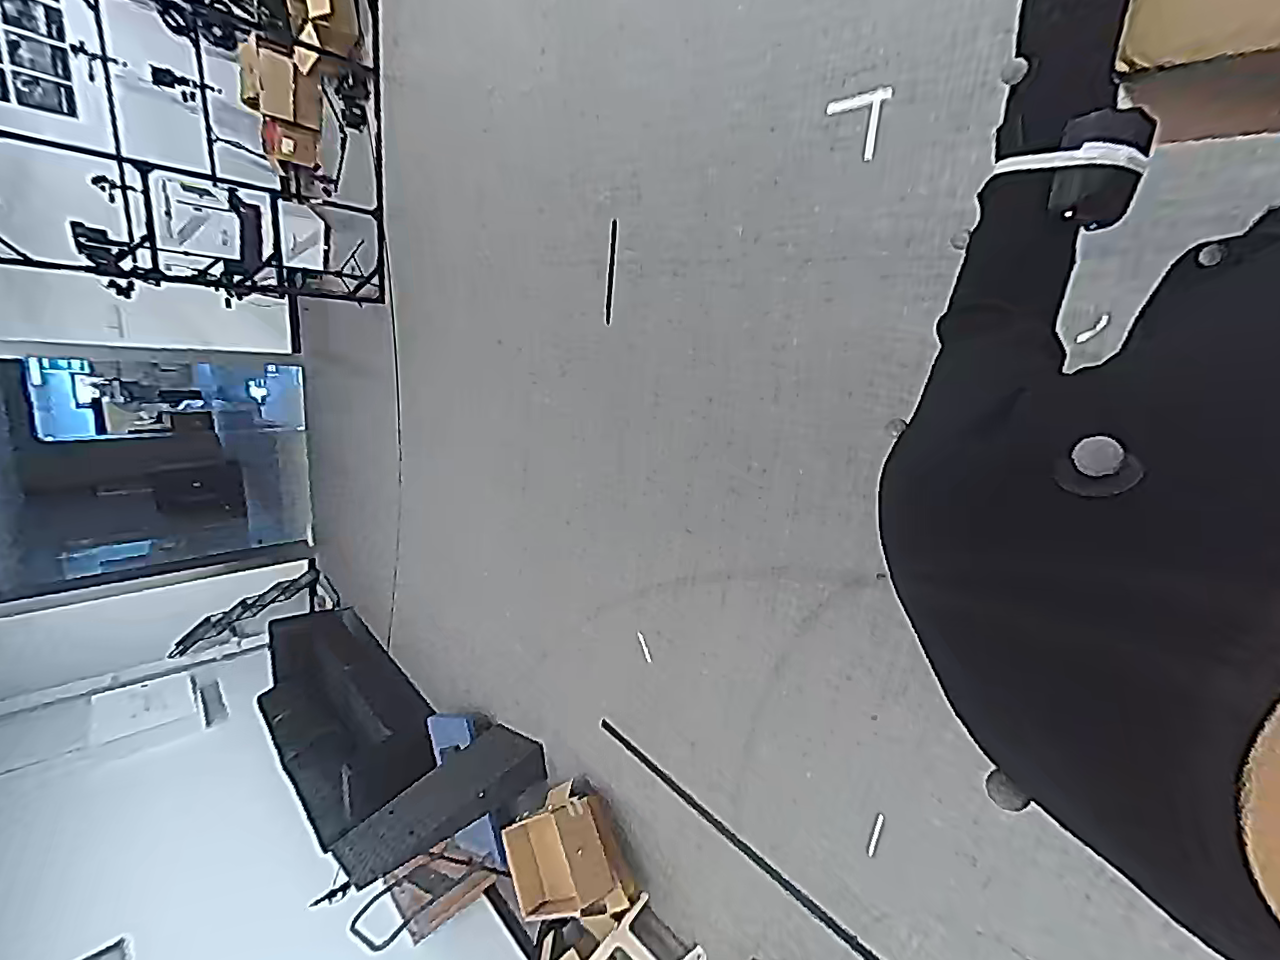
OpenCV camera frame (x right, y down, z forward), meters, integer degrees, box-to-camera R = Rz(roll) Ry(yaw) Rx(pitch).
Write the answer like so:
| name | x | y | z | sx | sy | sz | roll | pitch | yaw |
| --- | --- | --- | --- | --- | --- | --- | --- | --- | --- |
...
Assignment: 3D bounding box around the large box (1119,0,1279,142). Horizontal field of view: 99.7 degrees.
| name | x | y | z | sx | sy | sz | roll | pitch | yaw |
| --- | --- | --- | --- | --- | --- | --- | --- | --- | --- |
| large box | 0.574 | -0.414 | 0.292 | 0.408 | 0.320 | 0.320 | 20 | 119 | 41 |
